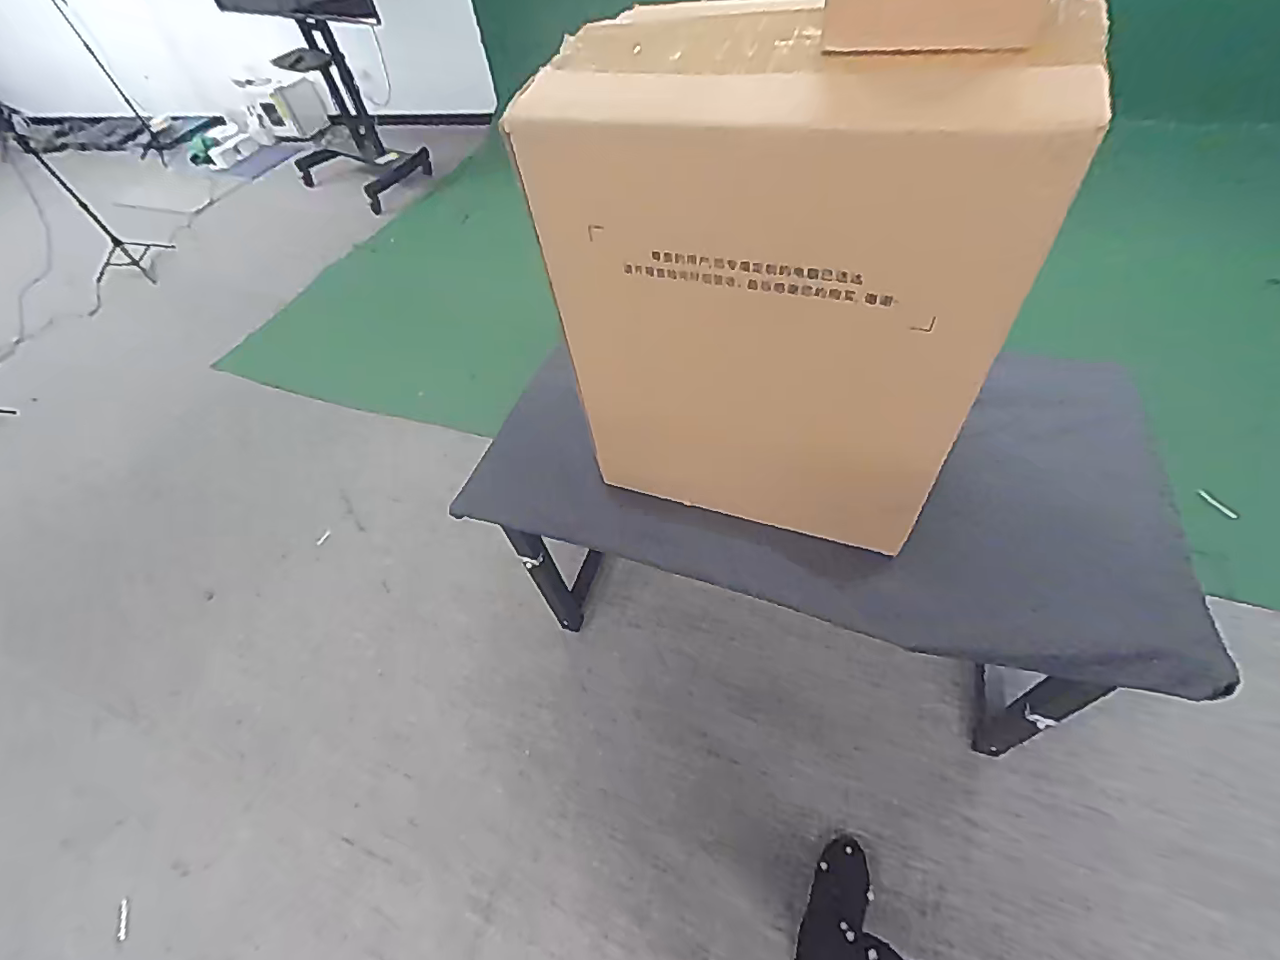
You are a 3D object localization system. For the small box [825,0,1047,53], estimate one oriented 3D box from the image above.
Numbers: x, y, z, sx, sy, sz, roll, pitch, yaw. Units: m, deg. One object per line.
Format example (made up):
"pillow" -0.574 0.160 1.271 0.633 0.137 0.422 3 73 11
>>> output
"small box" 0.263 -0.484 0.447 0.179 0.176 0.168 15 63 20
